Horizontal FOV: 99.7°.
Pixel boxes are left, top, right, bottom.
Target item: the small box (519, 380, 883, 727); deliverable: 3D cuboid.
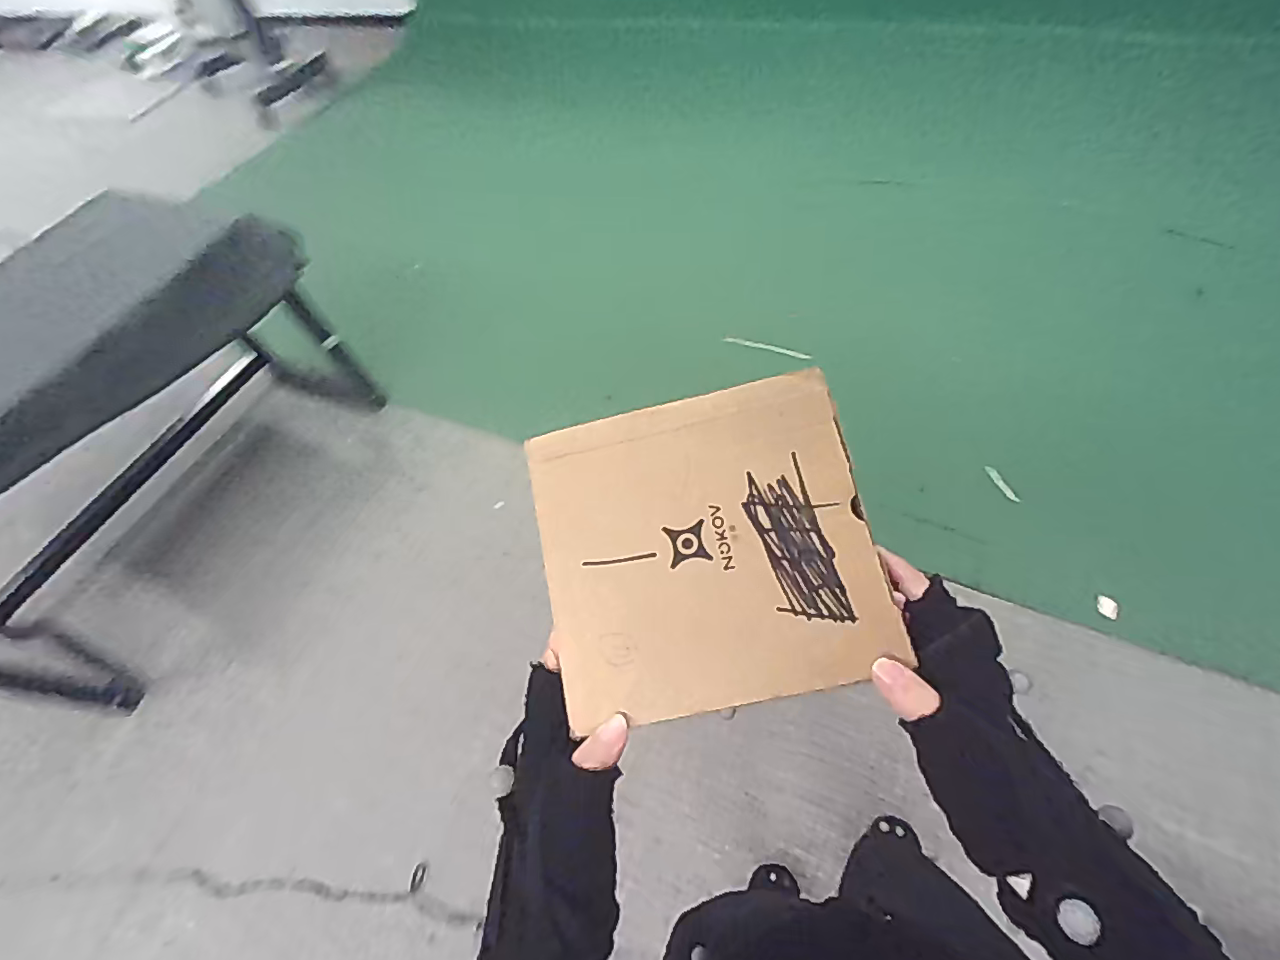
[{"bbox_3d":[0.035,0.055,0.380,0.179,0.176,0.168,-14,74,4],"label":"small box"}]
